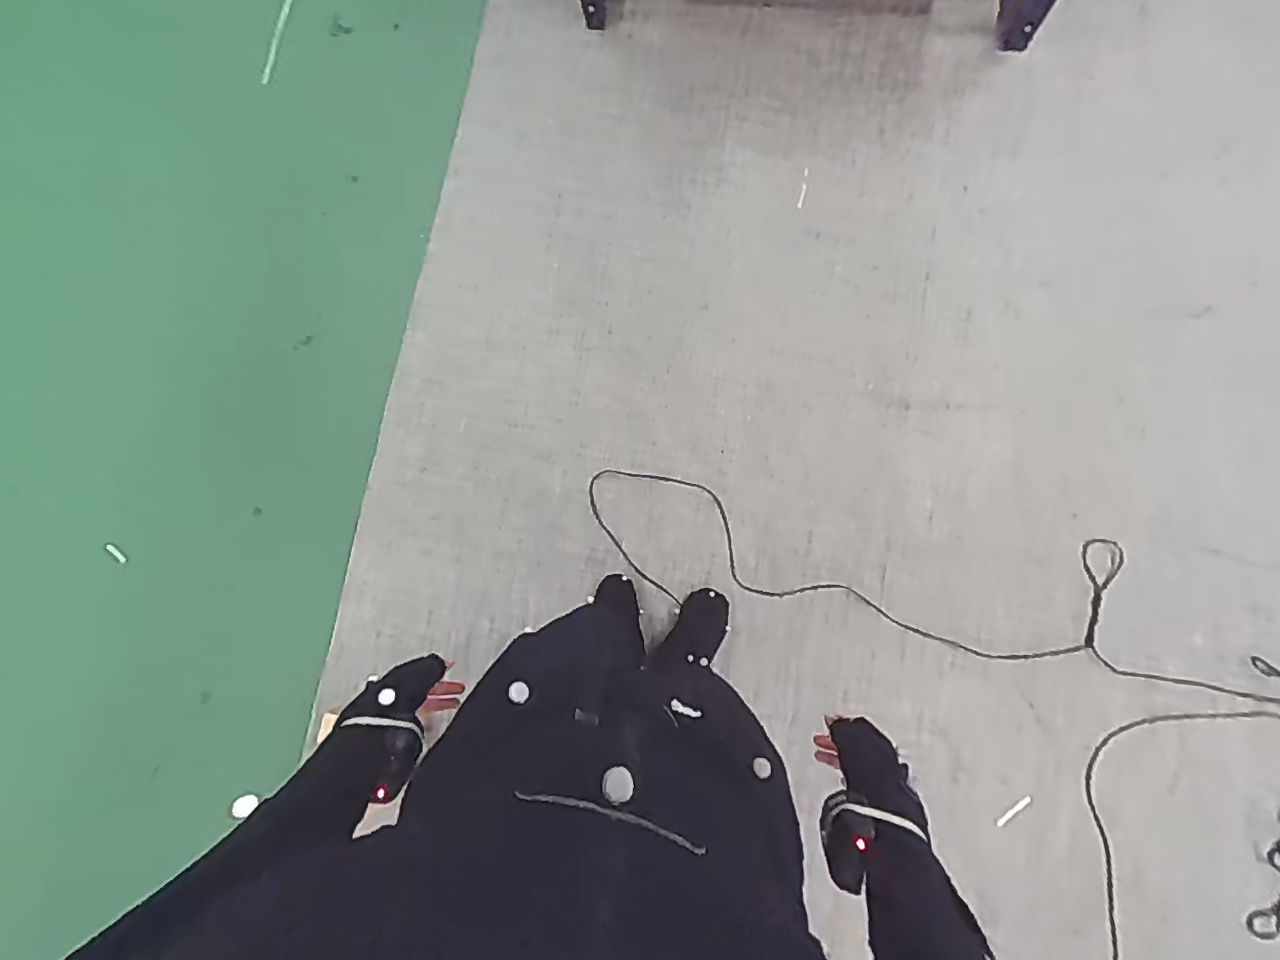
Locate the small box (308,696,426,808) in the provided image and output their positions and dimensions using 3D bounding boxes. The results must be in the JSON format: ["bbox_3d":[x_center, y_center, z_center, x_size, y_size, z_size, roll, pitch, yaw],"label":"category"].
[{"bbox_3d":[-0.631,0.628,1.274,0.168,0.176,0.179,10,83,9],"label":"small box"}]
